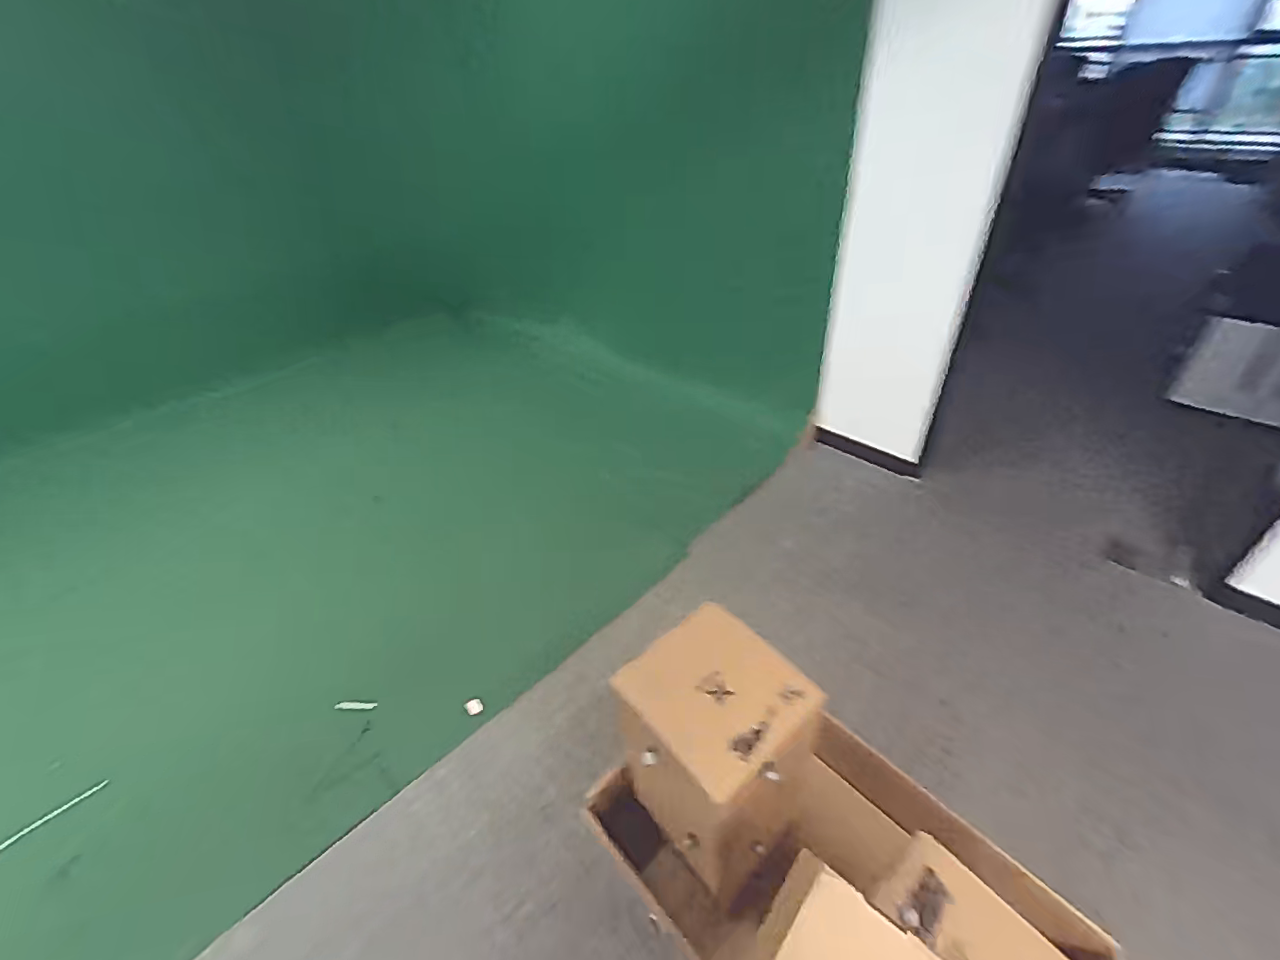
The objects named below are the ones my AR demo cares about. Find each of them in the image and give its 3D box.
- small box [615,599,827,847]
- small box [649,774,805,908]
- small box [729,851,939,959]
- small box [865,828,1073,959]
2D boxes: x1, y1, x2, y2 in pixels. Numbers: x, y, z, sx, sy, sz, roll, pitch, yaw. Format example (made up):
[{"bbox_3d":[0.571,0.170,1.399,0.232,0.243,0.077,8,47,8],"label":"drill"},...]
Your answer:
[{"bbox_3d":[0.091,0.285,0.645,0.168,0.176,0.179,-31,45,-26],"label":"small box"},{"bbox_3d":[0.134,0.526,0.862,0.168,0.176,0.179,-32,46,-27],"label":"small box"},{"bbox_3d":[0.144,0.405,0.383,0.168,0.176,0.179,30,69,25],"label":"small box"},{"bbox_3d":[0.317,0.528,0.571,0.168,0.176,0.179,-30,46,-26],"label":"small box"}]
